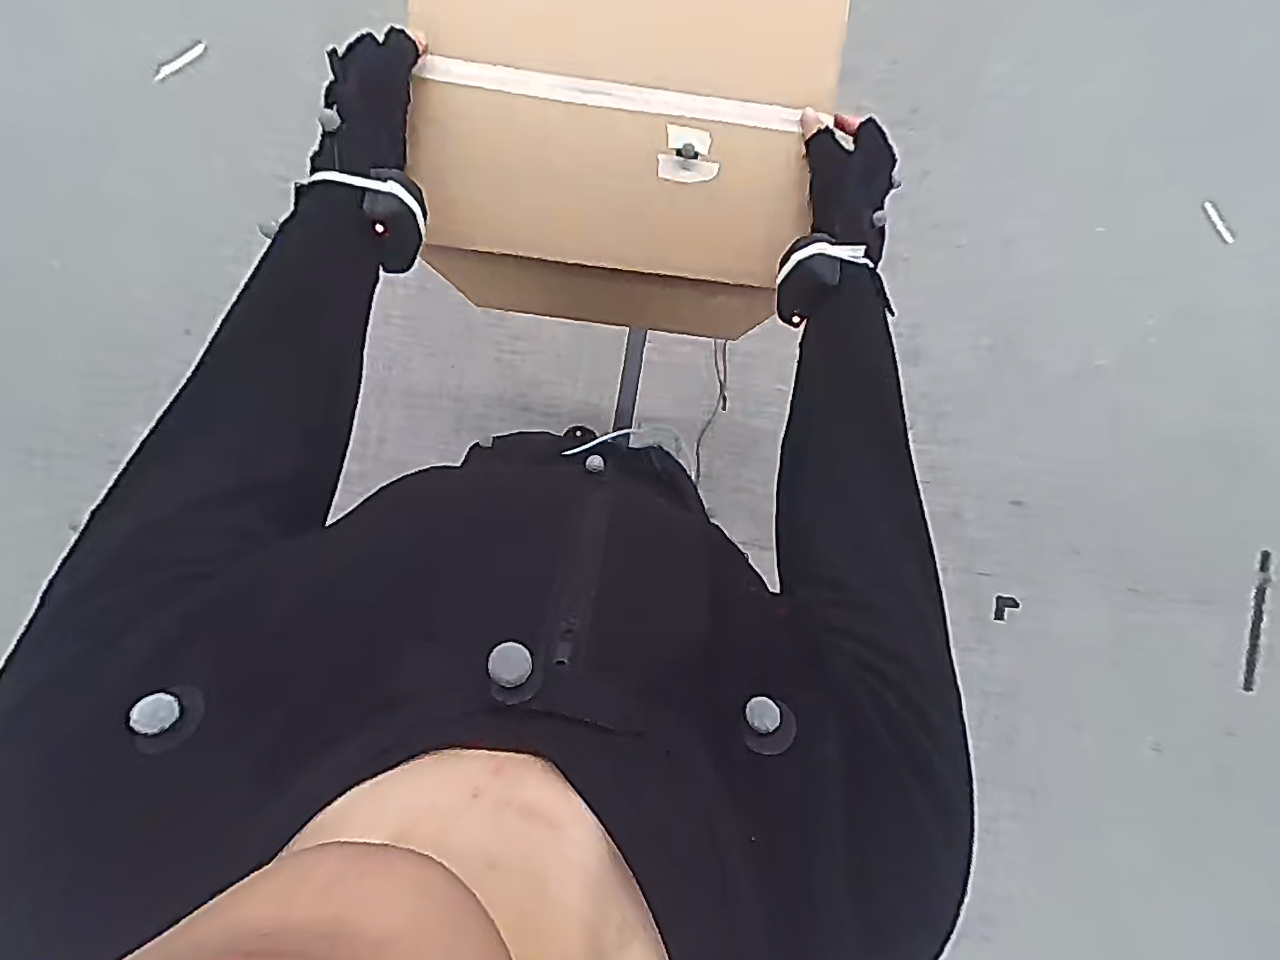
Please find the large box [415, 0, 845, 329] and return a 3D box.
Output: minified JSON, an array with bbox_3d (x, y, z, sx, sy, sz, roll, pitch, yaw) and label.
[{"bbox_3d":[-0.020,-0.387,0.671,0.408,0.320,0.320,6,97,-4],"label":"large box"}]
